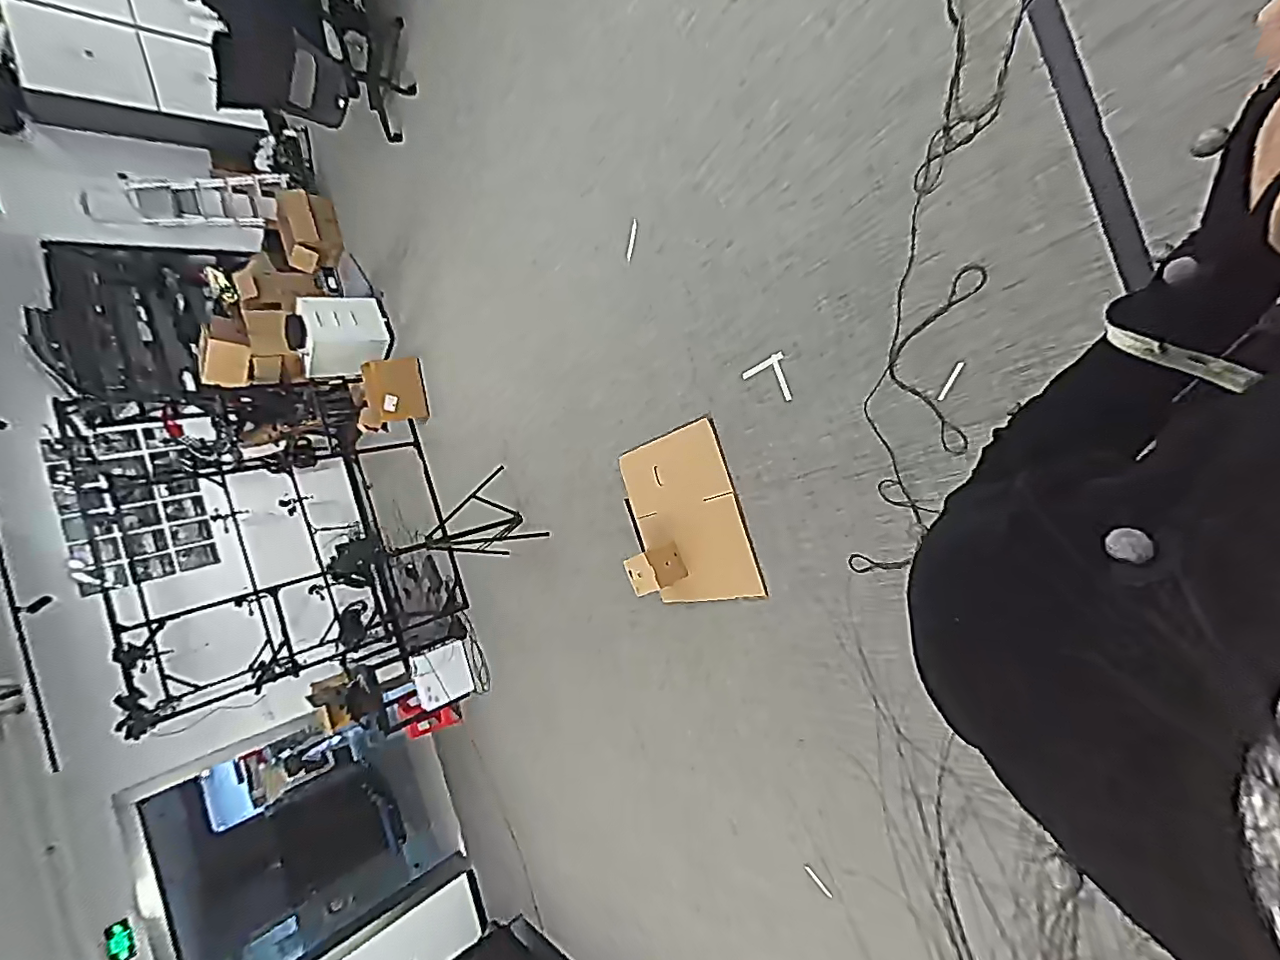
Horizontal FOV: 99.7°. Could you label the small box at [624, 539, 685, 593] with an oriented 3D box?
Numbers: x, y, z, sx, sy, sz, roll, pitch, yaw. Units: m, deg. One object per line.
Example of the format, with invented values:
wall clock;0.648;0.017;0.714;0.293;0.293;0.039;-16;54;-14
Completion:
small box;0.070;0.362;2.292;0.179;0.176;0.168;-32;78;49
